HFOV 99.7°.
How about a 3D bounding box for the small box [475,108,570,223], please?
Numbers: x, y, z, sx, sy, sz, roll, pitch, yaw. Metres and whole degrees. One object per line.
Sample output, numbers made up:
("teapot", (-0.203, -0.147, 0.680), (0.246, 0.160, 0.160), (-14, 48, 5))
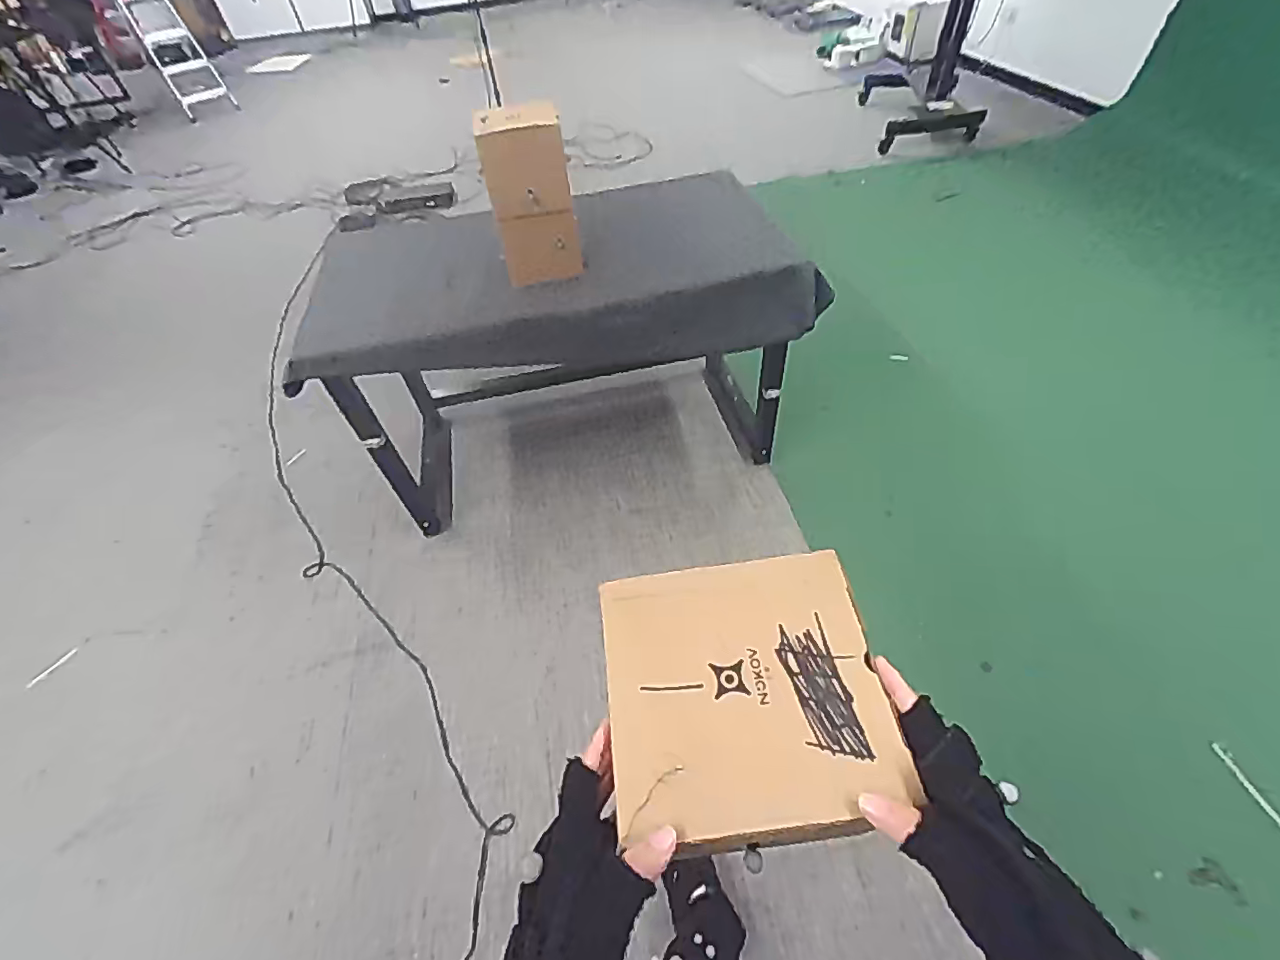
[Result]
("small box", (-0.254, -0.692, 1.193), (0.179, 0.176, 0.168), (-11, 48, -5))

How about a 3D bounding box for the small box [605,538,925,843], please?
("small box", (0.074, 0.168, 0.421), (0.179, 0.176, 0.168), (-9, 53, -4))

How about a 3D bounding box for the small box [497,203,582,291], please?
("small box", (-0.243, -0.586, 1.318), (0.179, 0.176, 0.168), (-14, 48, -5))
